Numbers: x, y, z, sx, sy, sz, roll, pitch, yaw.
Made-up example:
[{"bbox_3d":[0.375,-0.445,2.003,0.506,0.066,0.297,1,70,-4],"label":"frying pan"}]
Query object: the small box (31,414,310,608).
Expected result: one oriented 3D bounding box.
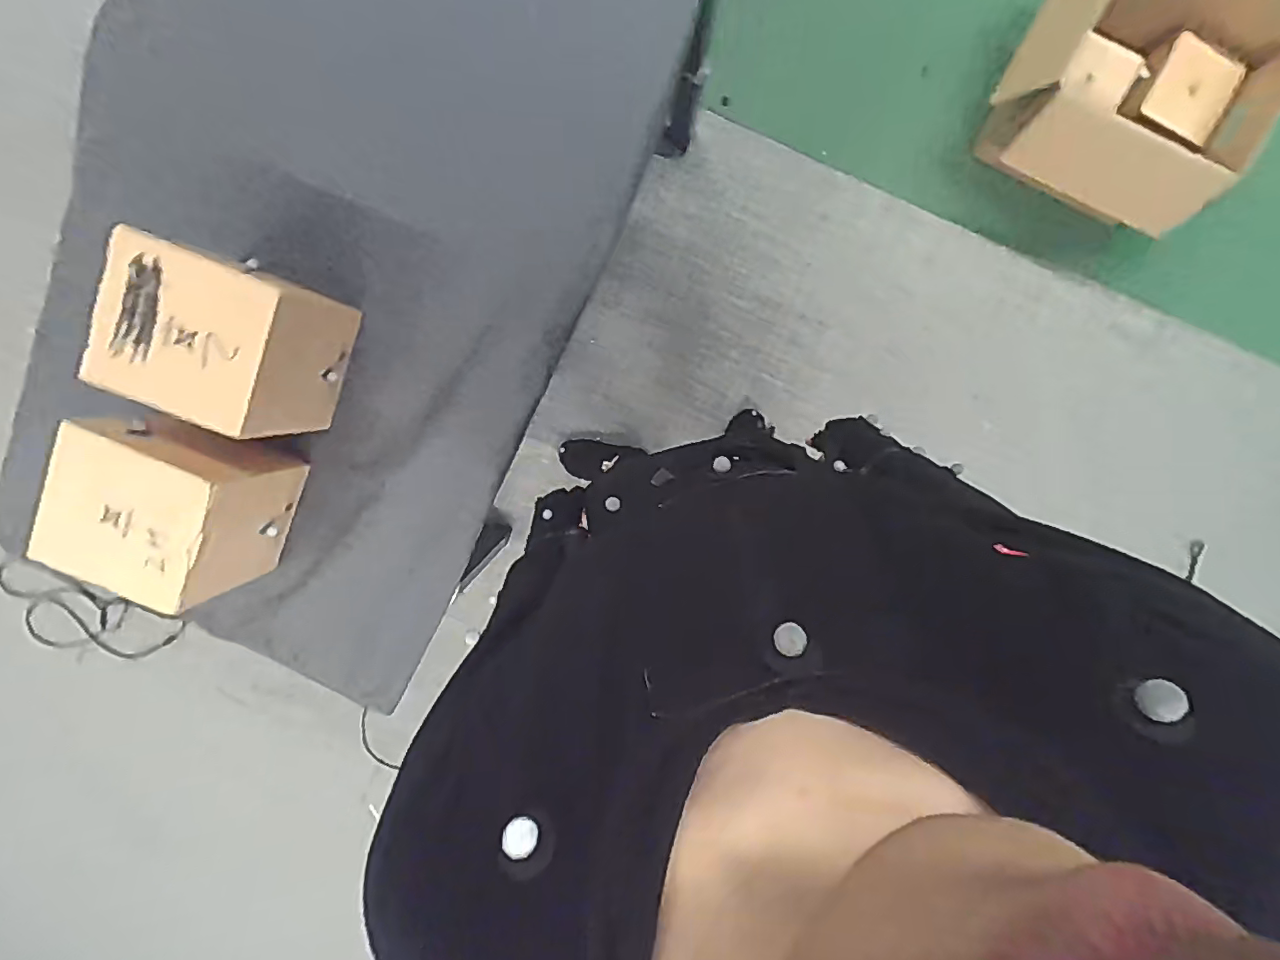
[{"bbox_3d":[-0.561,0.026,0.668,0.179,0.176,0.168,23,99,-3],"label":"small box"}]
